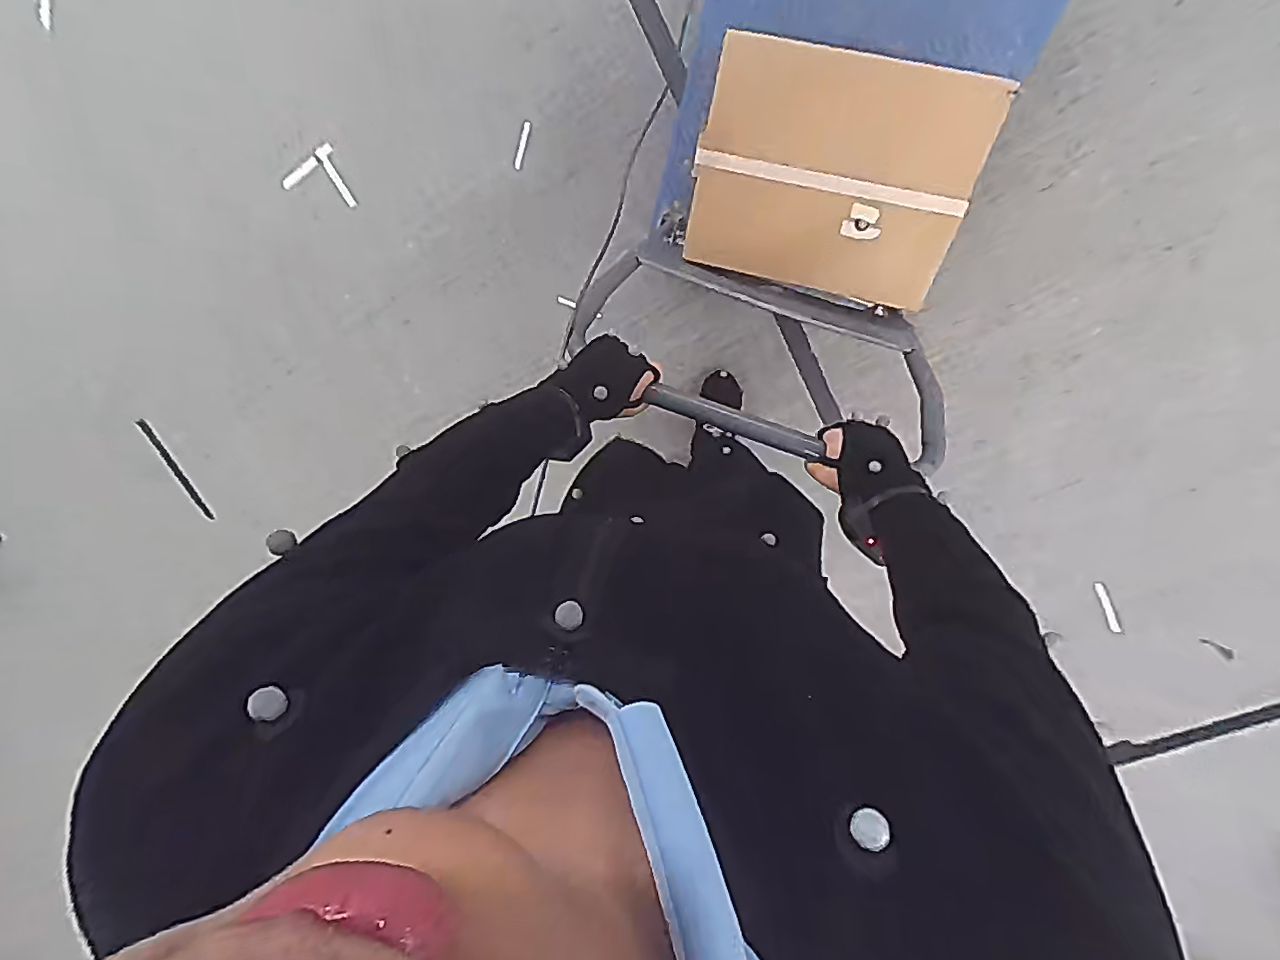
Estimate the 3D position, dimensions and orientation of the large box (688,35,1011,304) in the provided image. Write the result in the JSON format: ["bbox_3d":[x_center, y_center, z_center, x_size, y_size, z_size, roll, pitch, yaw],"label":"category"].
[{"bbox_3d":[0.325,-0.540,0.961,0.408,0.320,0.320,15,124,6],"label":"large box"}]
